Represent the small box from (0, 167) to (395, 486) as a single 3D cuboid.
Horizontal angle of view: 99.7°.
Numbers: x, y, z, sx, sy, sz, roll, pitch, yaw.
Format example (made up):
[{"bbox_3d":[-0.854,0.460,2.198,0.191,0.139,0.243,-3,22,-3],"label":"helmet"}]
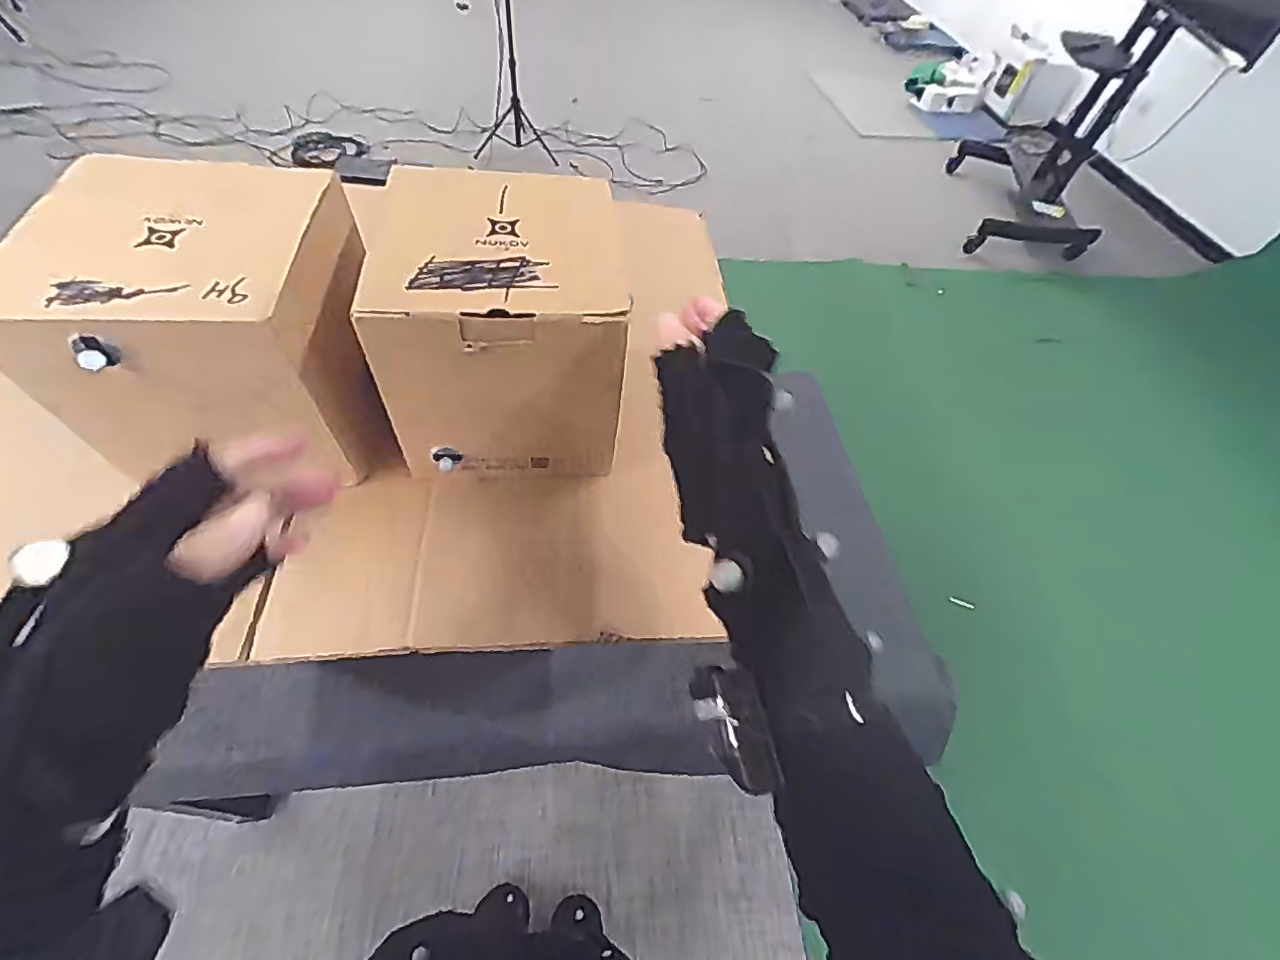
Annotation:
[{"bbox_3d":[-0.307,-0.114,0.421,0.168,0.176,0.179,-2,54,-6],"label":"small box"}]
